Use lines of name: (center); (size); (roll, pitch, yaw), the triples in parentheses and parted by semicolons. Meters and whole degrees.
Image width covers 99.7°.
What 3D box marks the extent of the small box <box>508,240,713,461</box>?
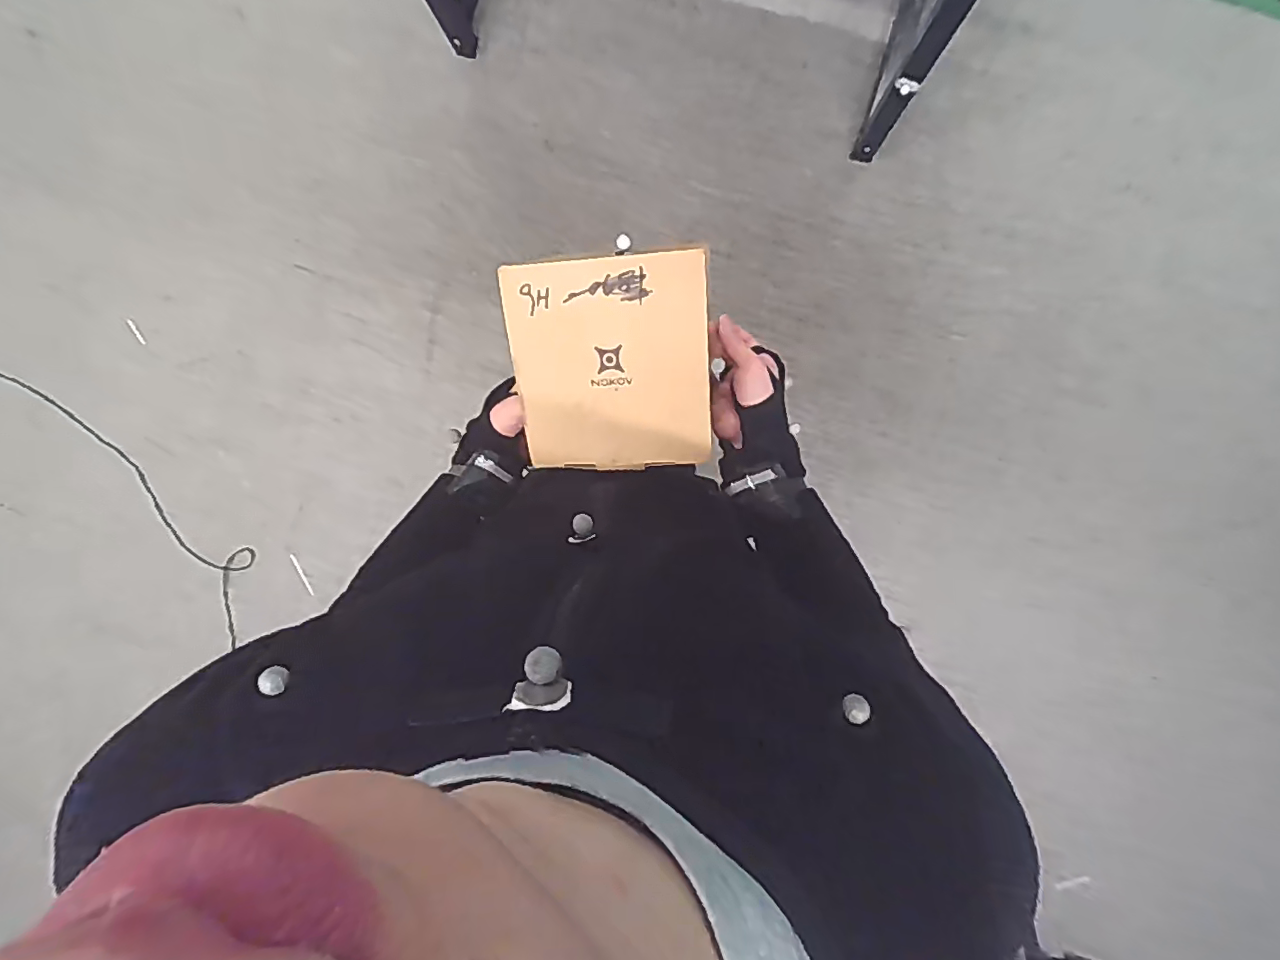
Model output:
small box: (-0.012, -0.132, 0.533); (0.168, 0.176, 0.179); (-2, 116, 7)
